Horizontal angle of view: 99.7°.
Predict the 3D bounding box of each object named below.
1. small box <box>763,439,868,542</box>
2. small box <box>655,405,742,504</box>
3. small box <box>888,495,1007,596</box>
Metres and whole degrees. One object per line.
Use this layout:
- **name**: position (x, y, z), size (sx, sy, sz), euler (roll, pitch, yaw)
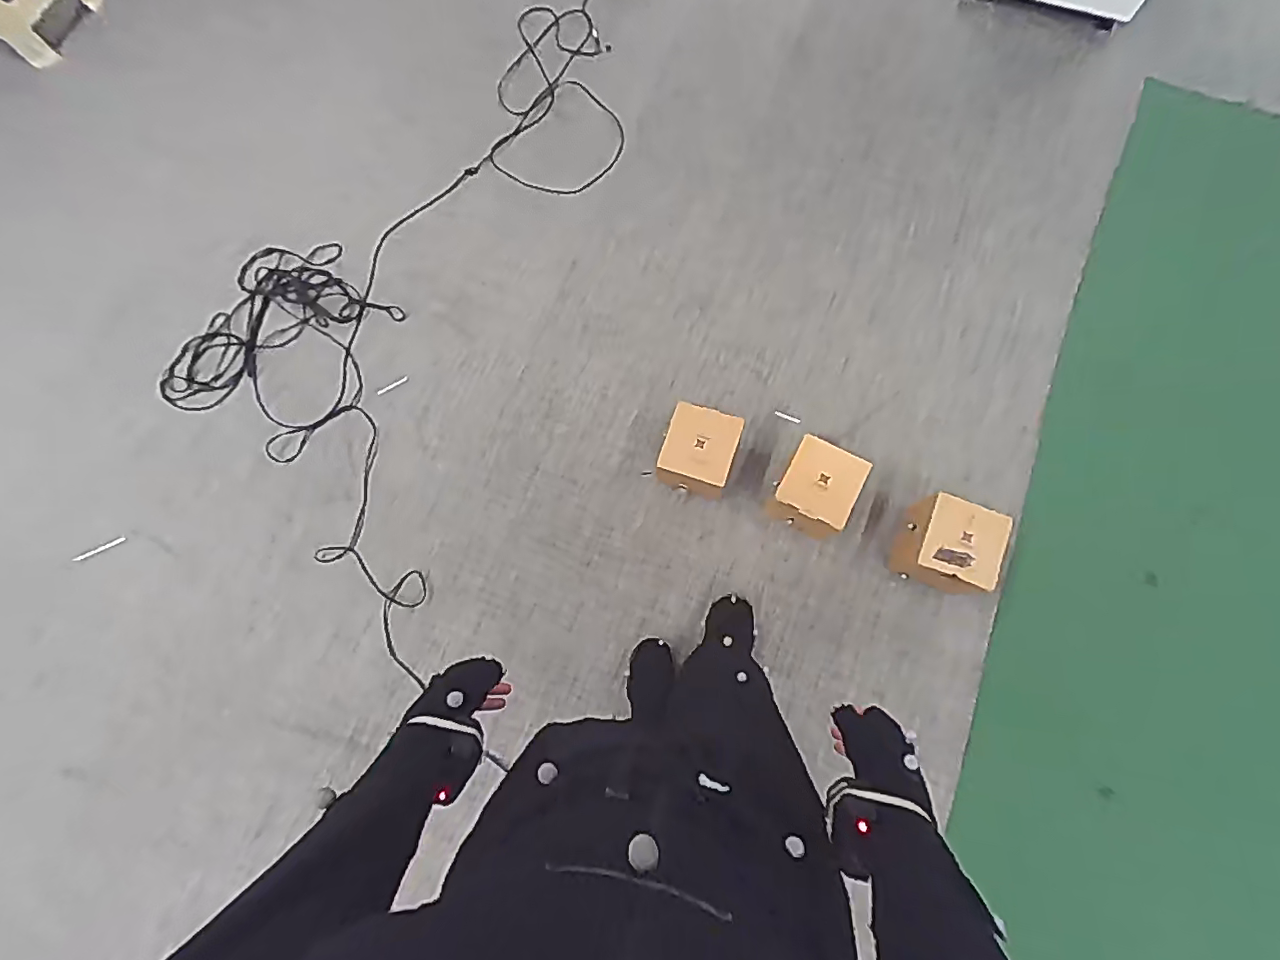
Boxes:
- **small box**: position (0.412, 0.031, 1.301), size (0.168, 0.176, 0.179), euler (27, 80, 9)
- **small box**: position (0.143, -0.057, 1.337), size (0.168, 0.176, 0.179), euler (17, 79, 9)
- **small box**: position (0.700, 0.160, 1.253), size (0.168, 0.176, 0.179), euler (22, 77, 8)
